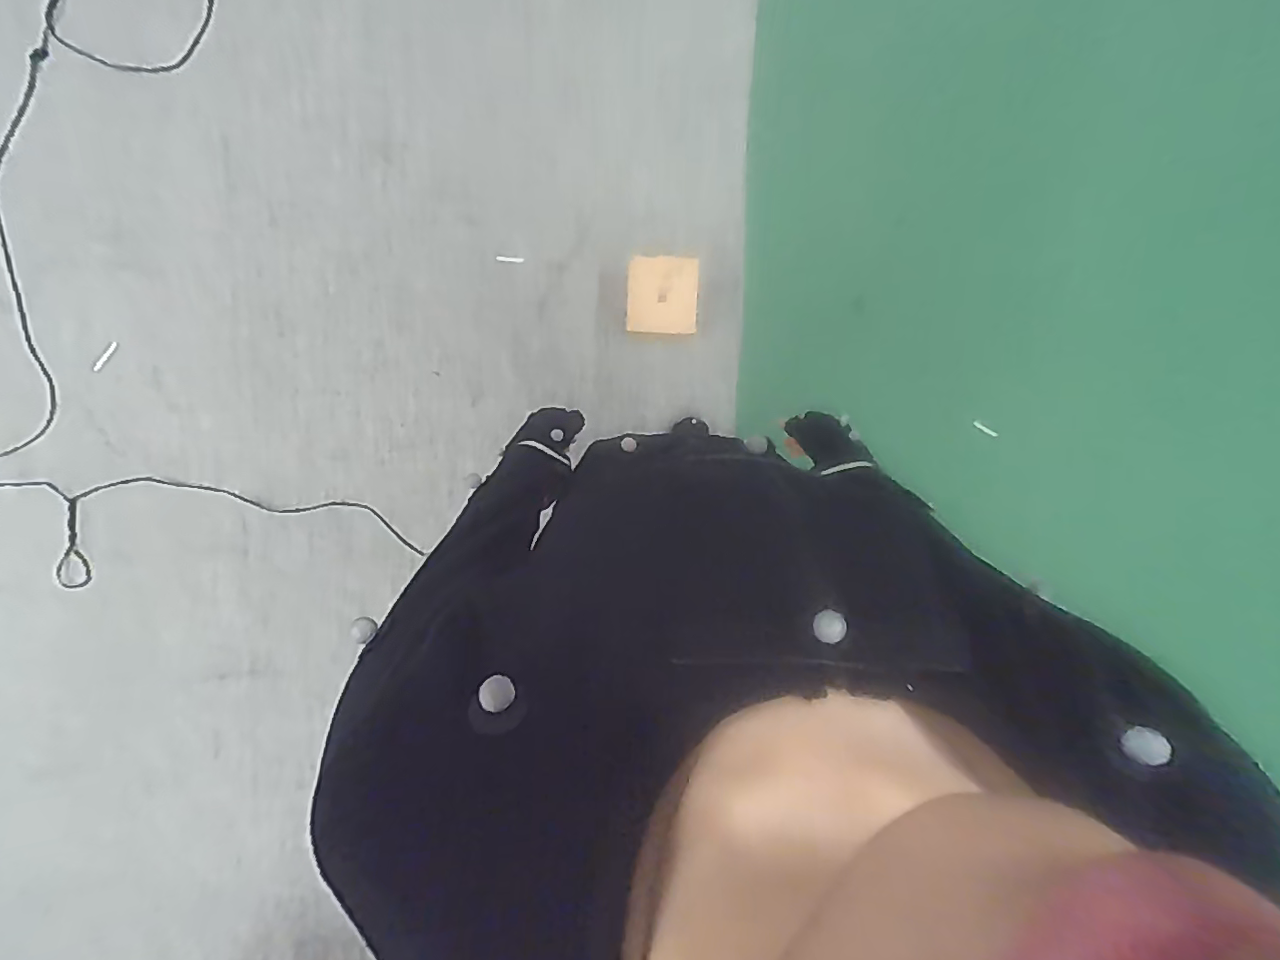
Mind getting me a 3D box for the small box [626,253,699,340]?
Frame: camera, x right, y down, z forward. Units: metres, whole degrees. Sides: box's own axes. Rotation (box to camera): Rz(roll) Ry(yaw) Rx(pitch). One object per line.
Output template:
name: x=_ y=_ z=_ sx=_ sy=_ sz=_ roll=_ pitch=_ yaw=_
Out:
small box: x=0.052 y=-0.446 z=1.341 sx=0.168 sy=0.176 sz=0.179 roll=2 pitch=97 yaw=-2
